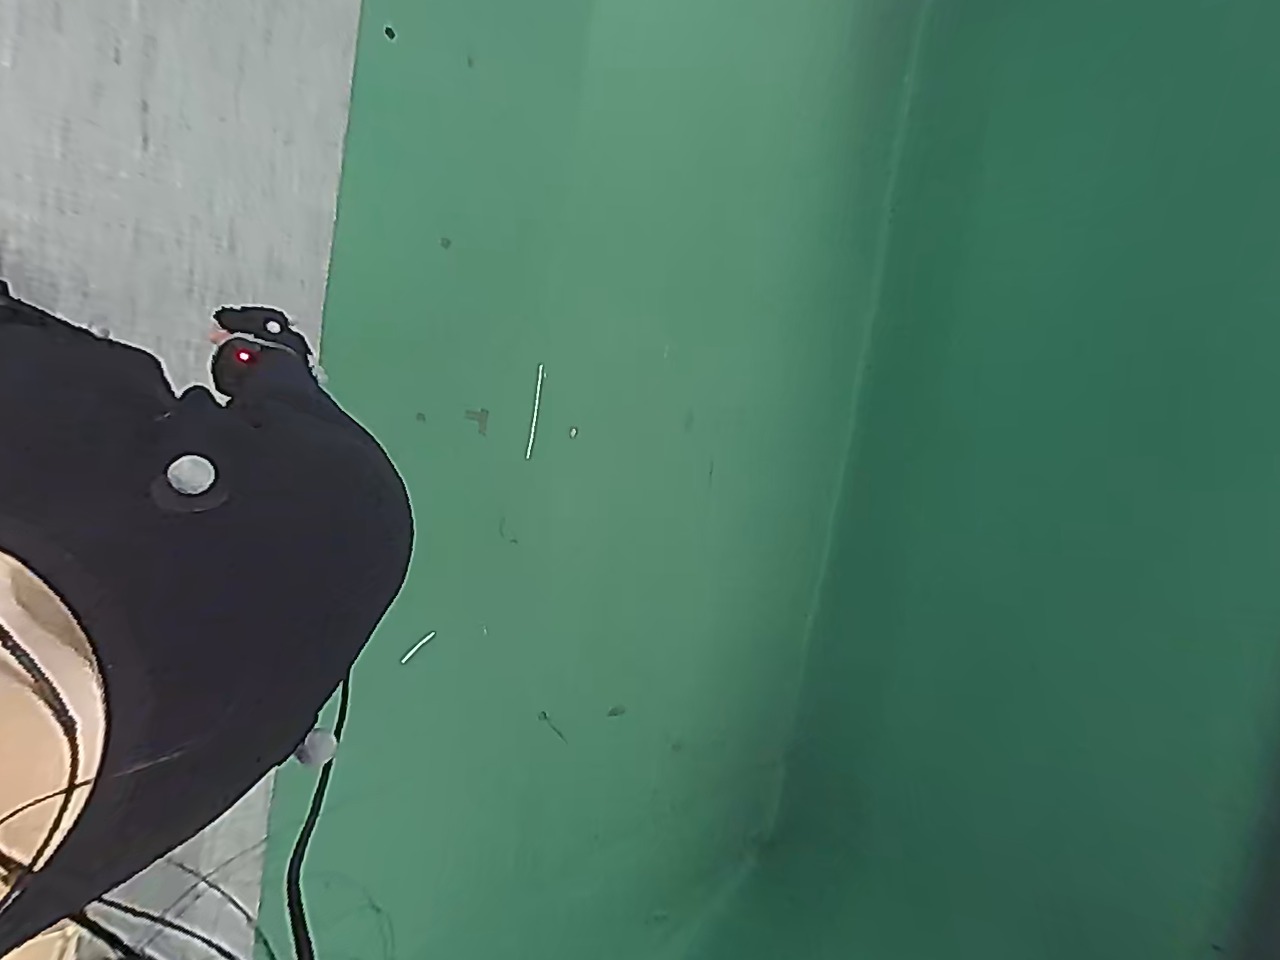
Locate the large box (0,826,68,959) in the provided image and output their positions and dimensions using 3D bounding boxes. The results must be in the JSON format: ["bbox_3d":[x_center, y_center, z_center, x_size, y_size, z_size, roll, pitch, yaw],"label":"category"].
[{"bbox_3d":[-1.262,0.881,0.899,0.408,0.320,0.320,5,95,-49],"label":"large box"}]
